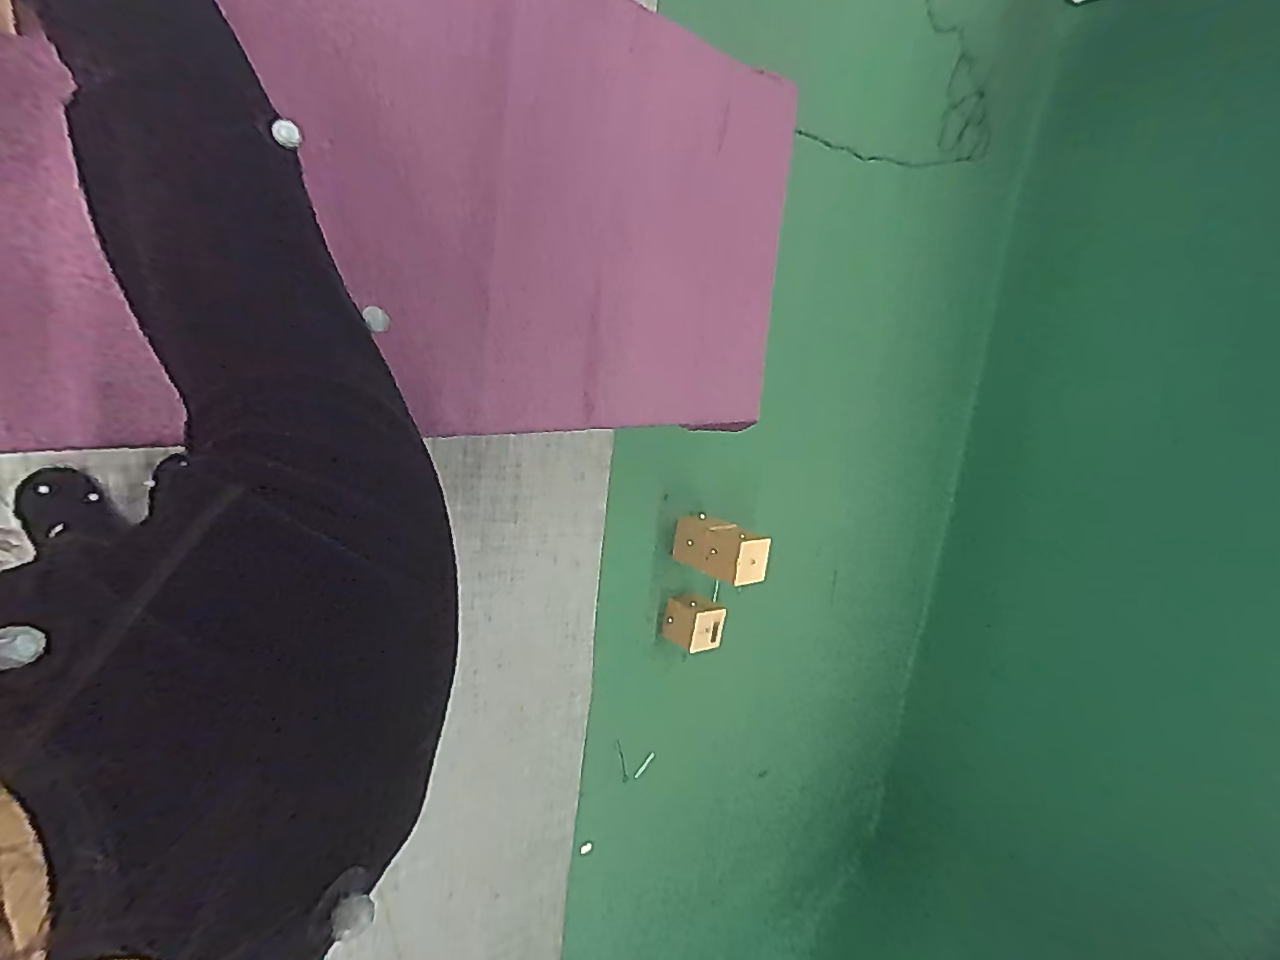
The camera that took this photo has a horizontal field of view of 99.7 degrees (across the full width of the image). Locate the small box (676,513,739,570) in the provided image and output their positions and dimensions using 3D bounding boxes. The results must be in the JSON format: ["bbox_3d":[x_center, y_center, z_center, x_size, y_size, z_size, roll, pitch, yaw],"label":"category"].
[{"bbox_3d":[0.261,0.237,2.118,0.168,0.176,0.179,-1,102,-41],"label":"small box"}]

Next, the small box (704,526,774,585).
[{"bbox_3d":[0.363,0.271,1.996,0.179,0.176,0.168,-1,102,-40],"label":"small box"}]
